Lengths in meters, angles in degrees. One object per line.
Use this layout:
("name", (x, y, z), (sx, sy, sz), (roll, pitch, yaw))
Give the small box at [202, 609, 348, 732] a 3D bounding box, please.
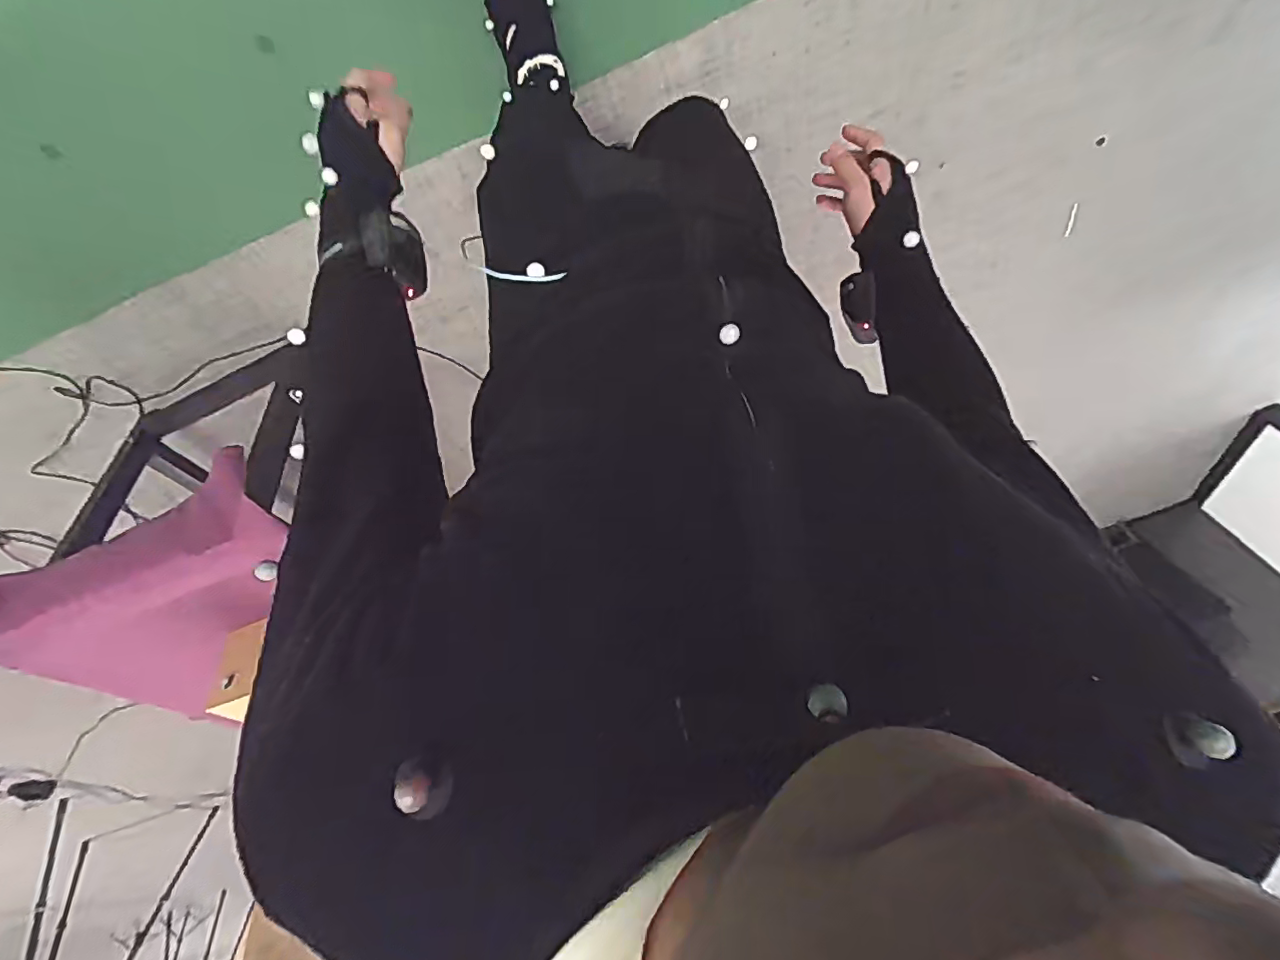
("small box", (-0.743, 0.396, 1.126), (0.179, 0.176, 0.168), (-21, 139, 7))
